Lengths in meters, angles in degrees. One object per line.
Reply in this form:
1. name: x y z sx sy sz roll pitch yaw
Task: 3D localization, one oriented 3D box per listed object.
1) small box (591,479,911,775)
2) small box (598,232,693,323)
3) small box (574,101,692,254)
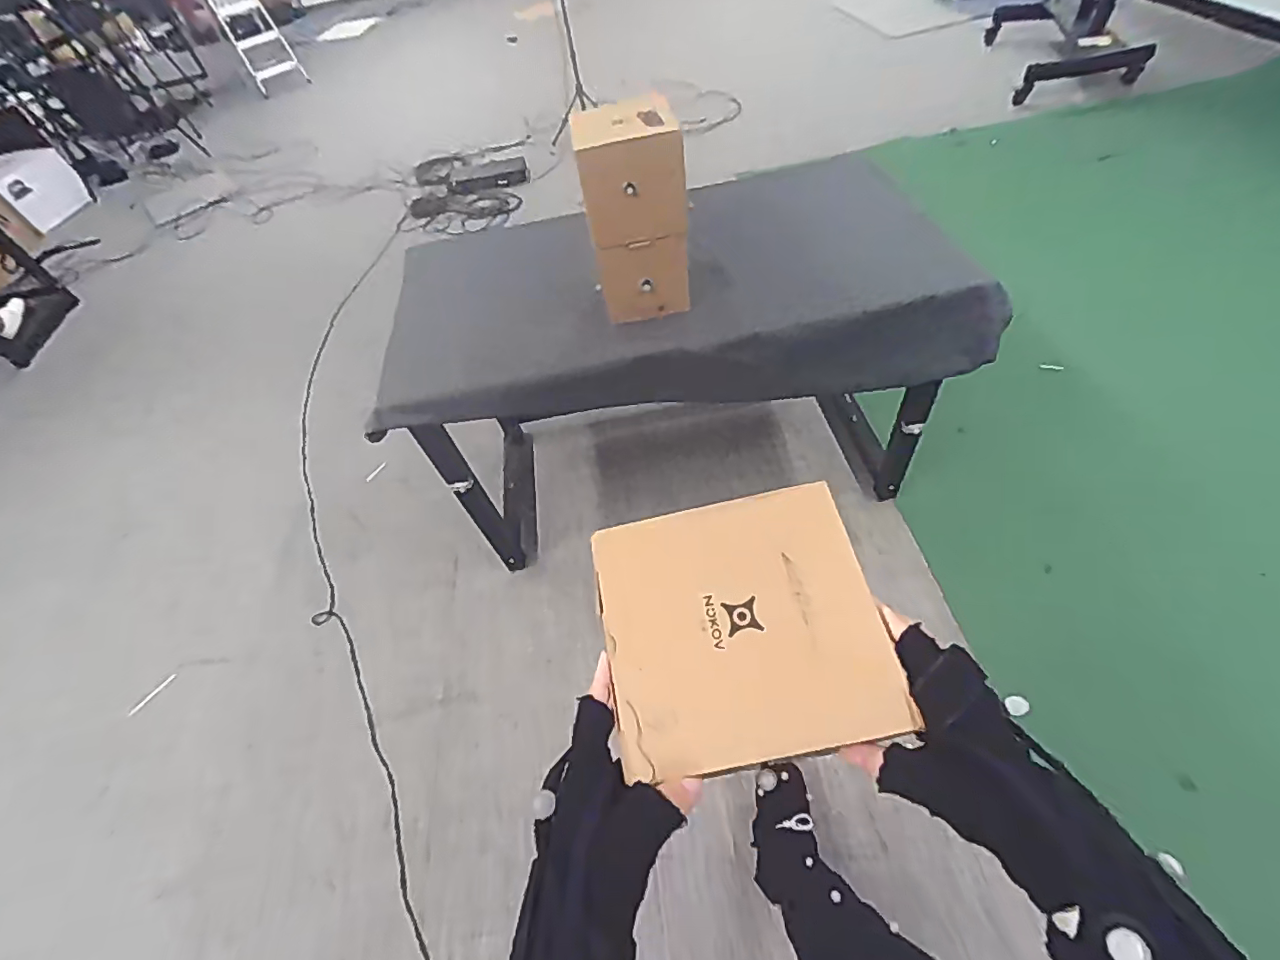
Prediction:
1. small box: 0.072 0.125 0.424 0.179 0.176 0.168 -13 61 1
2. small box: 0.008 -0.435 1.087 0.168 0.176 0.179 -11 52 2
3. small box: -0.009 -0.528 0.952 0.179 0.176 0.168 -12 52 -1
